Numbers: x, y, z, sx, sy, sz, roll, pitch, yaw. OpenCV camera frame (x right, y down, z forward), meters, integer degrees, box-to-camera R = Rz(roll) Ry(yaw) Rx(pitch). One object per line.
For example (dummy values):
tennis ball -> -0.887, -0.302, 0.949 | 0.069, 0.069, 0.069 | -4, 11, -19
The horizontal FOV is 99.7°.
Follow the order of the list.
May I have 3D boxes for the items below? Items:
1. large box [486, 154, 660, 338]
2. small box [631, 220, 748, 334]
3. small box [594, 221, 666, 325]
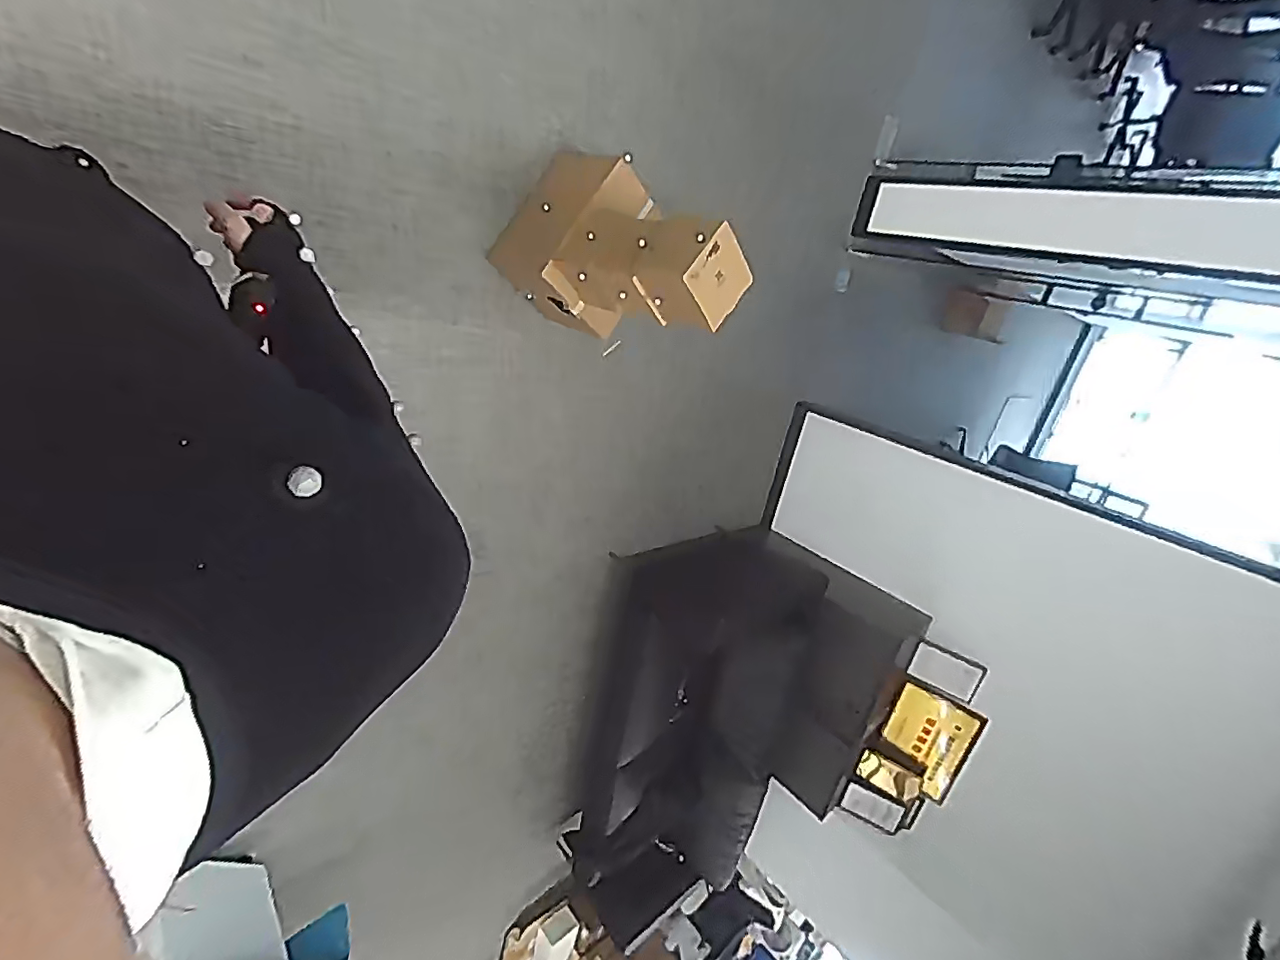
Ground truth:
large box -> -0.193, -0.717, 1.663 | 0.408, 0.320, 0.320 | -57, 142, -3
small box -> 0.114, -0.469, 1.239 | 0.168, 0.176, 0.179 | -54, 140, -8
small box -> 0.008, -0.520, 1.355 | 0.179, 0.176, 0.168 | -55, 139, -7
